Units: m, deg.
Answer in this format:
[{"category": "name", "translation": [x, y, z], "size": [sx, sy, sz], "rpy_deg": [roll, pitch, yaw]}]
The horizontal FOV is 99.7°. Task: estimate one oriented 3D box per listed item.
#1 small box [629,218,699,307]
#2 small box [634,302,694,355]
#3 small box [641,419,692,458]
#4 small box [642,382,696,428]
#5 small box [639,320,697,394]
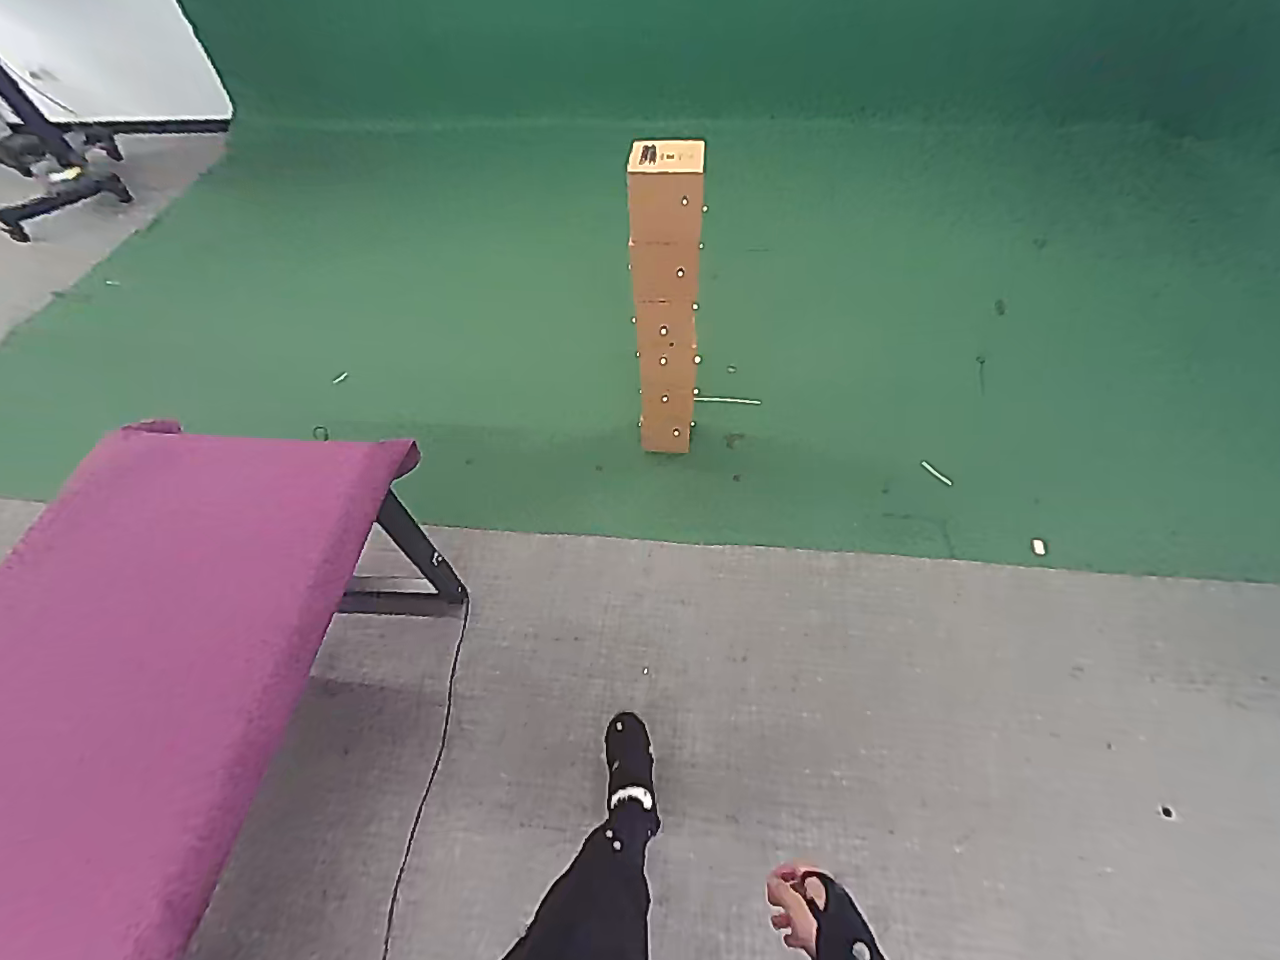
[{"category": "small box", "translation": [0.069, -0.585, 1.465], "size": [0.179, 0.176, 0.168], "rpy_deg": [1, 53, 5]}, {"category": "small box", "translation": [0.075, -0.486, 1.595], "size": [0.168, 0.176, 0.179], "rpy_deg": [1, 55, 4]}, {"category": "small box", "translation": [0.102, -0.194, 1.986], "size": [0.179, 0.176, 0.168], "rpy_deg": [3, 54, 6]}, {"category": "small box", "translation": [0.101, -0.292, 1.856], "size": [0.179, 0.176, 0.168], "rpy_deg": [0, 54, 4]}, {"category": "small box", "translation": [0.090, -0.389, 1.726], "size": [0.179, 0.176, 0.168], "rpy_deg": [0, 54, 3]}]
